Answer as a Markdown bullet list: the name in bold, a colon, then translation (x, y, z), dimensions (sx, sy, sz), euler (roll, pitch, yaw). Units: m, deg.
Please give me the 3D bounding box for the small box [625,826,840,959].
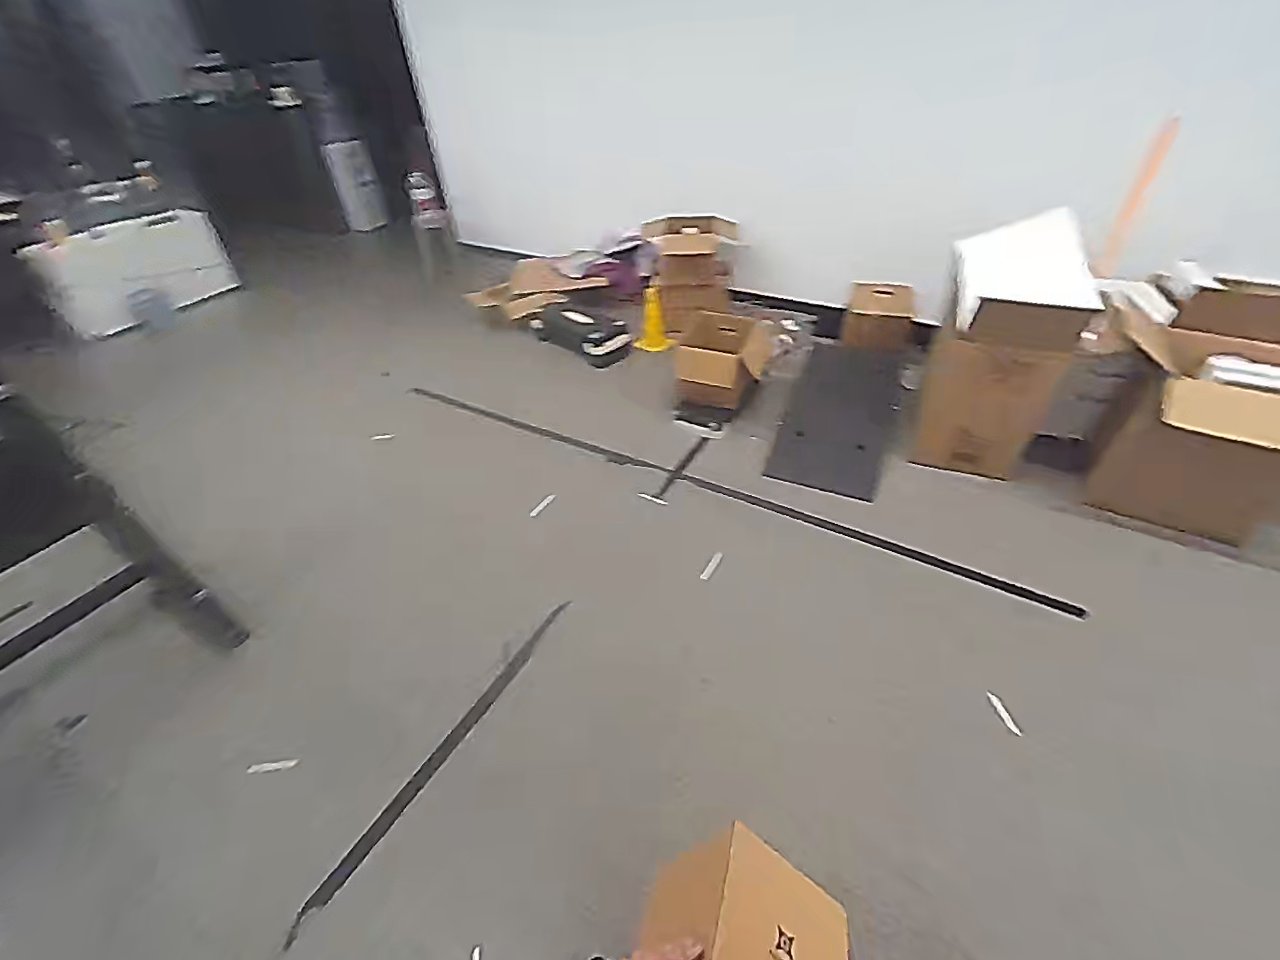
- **small box**: translation (0.092, 0.529, 0.576), dimensions (0.168, 0.176, 0.179), euler (39, 26, 1)
